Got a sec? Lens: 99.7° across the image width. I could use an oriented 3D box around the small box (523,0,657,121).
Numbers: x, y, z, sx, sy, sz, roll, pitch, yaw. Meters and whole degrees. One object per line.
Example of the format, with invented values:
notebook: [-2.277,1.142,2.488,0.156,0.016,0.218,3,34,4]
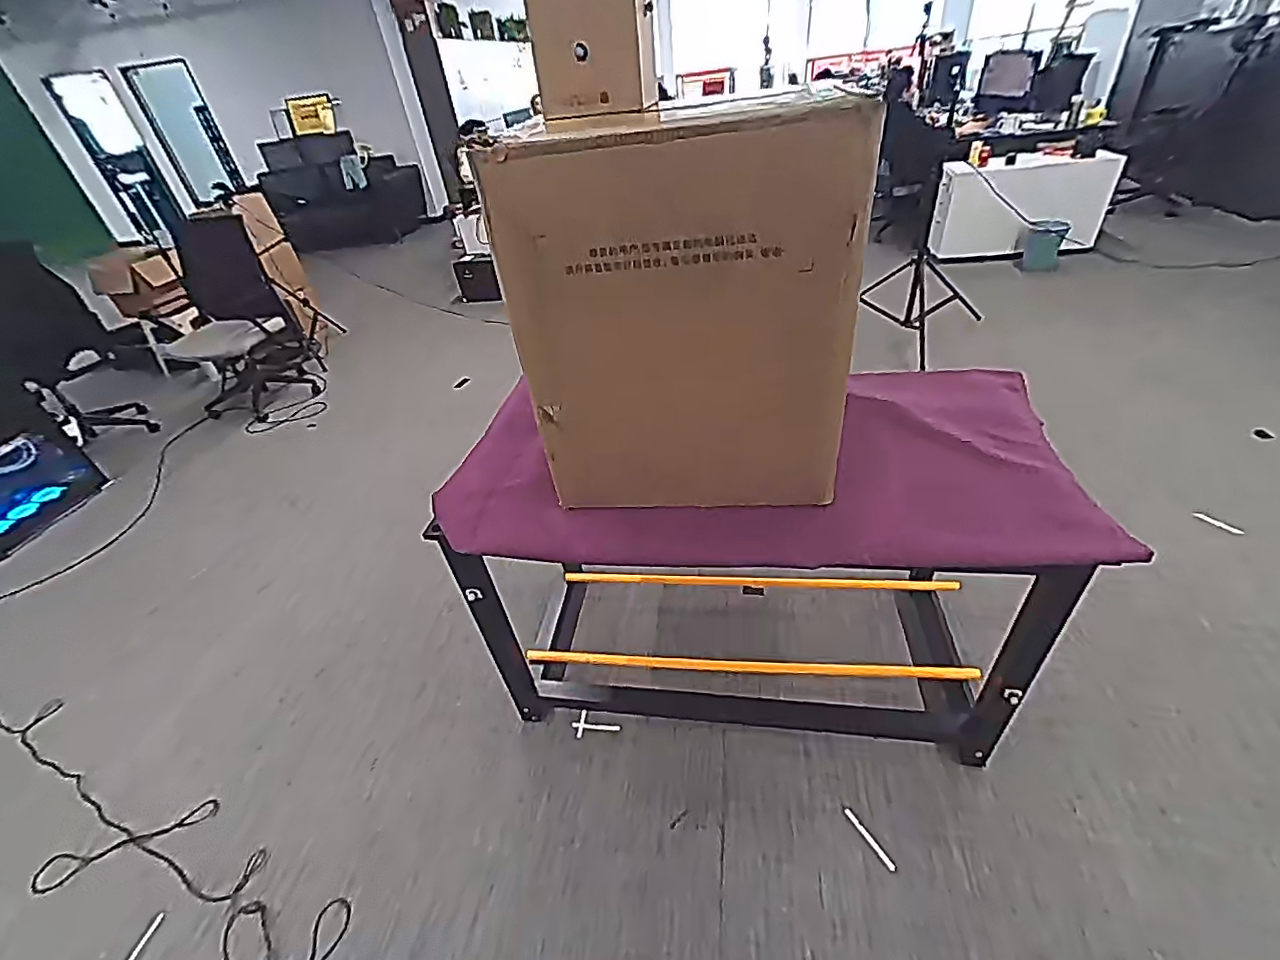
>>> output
small box: [-0.068,-0.686,0.869,0.168,0.176,0.179,2,38,11]
